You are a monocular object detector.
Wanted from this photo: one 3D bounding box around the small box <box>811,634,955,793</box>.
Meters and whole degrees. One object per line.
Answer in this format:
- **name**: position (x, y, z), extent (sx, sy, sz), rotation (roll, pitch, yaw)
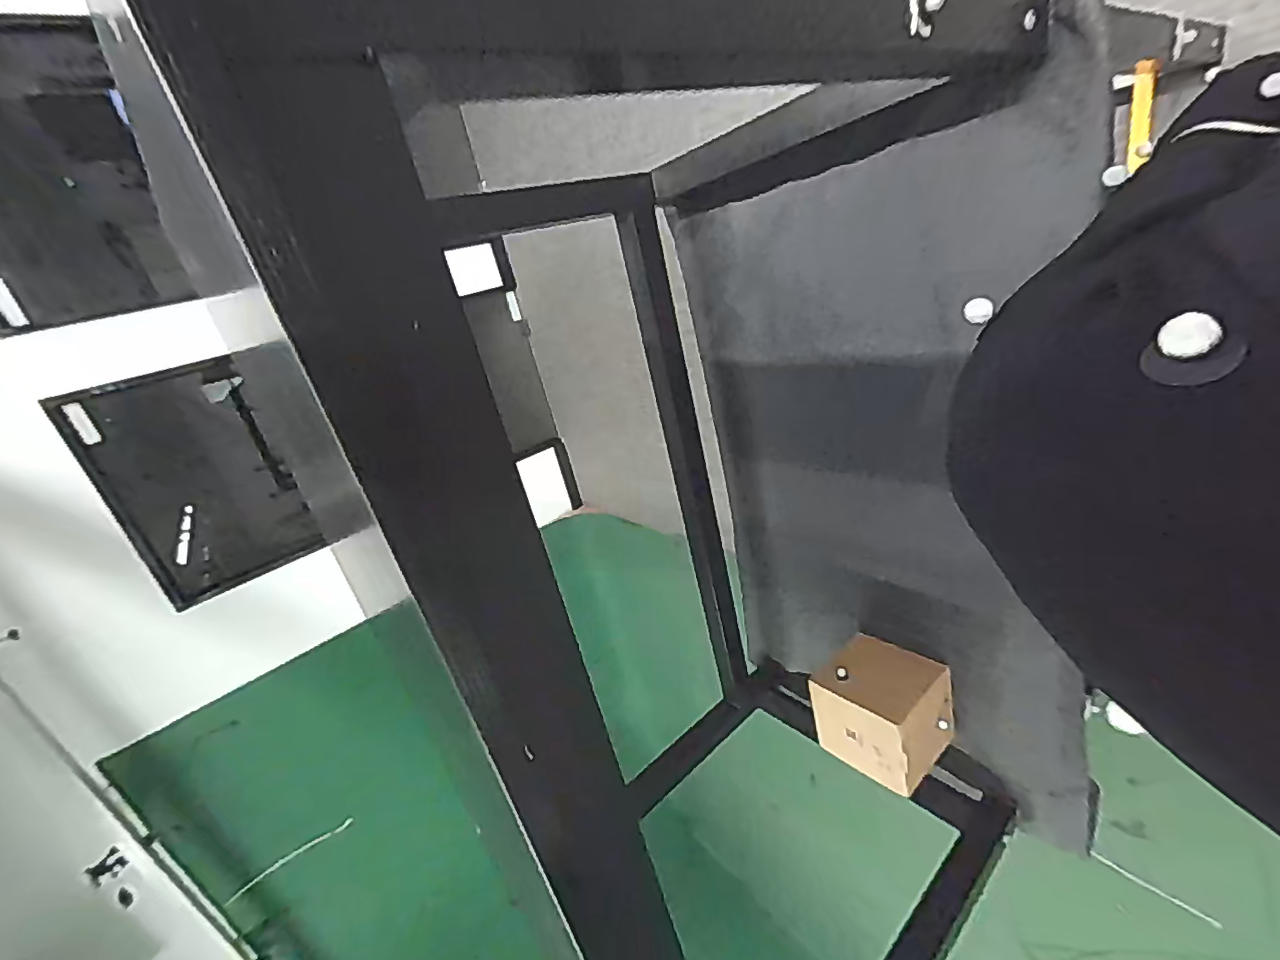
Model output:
- **small box**: position (0.442, 0.408, 0.984), extent (0.179, 0.176, 0.168), rotation (13, 124, 53)
